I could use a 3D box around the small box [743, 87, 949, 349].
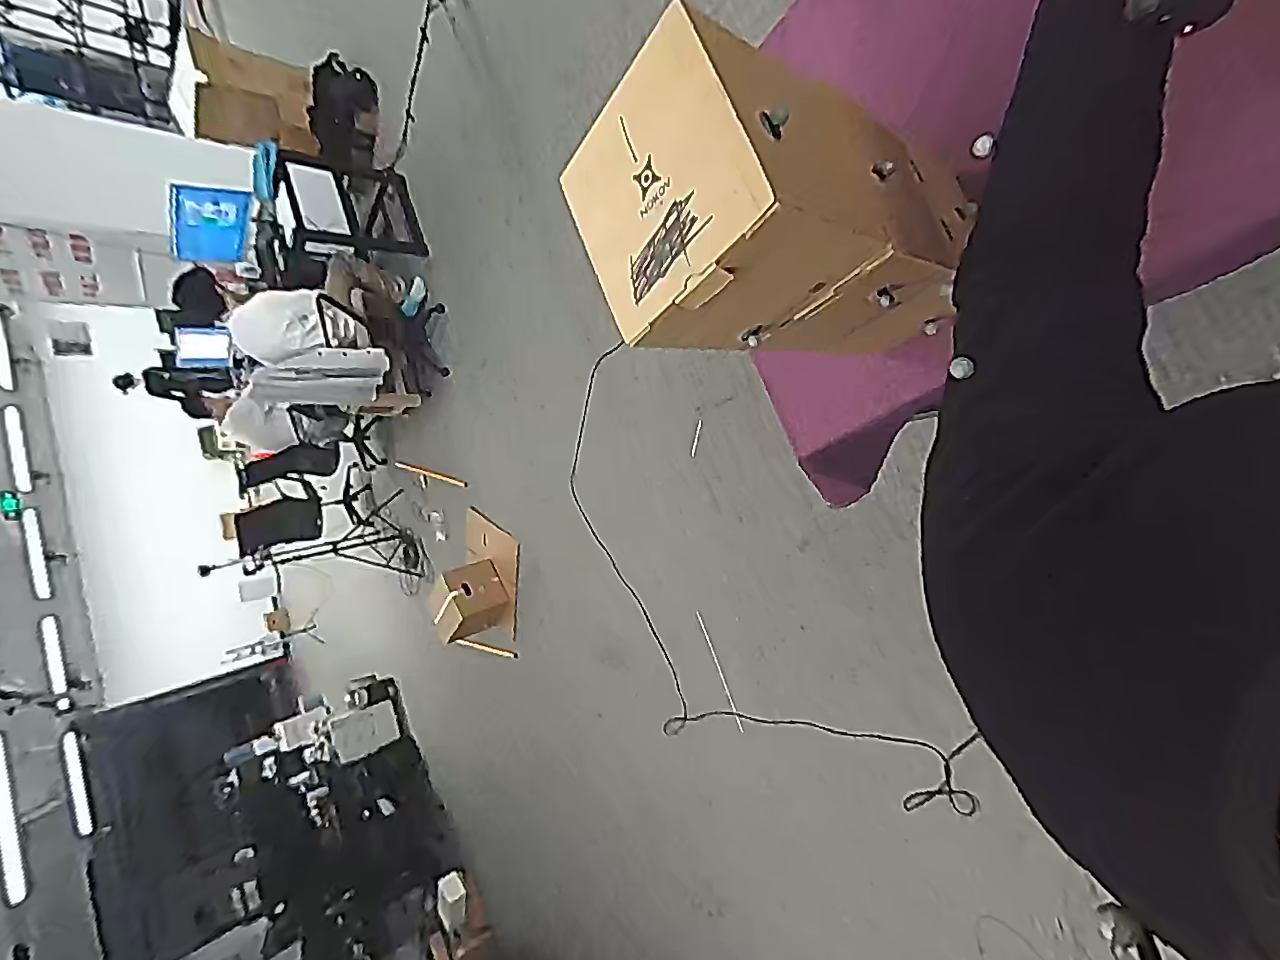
[{"bbox_3d":[0.194,-0.256,0.576,0.168,0.176,0.179,-27,77,46],"label":"small box"}]

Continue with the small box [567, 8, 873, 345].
[{"bbox_3d":[0.069,-0.235,0.471,0.168,0.176,0.179,-32,74,45],"label":"small box"}]

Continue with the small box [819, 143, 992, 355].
[{"bbox_3d":[0.314,-0.274,0.686,0.179,0.176,0.168,-30,76,46],"label":"small box"}]
